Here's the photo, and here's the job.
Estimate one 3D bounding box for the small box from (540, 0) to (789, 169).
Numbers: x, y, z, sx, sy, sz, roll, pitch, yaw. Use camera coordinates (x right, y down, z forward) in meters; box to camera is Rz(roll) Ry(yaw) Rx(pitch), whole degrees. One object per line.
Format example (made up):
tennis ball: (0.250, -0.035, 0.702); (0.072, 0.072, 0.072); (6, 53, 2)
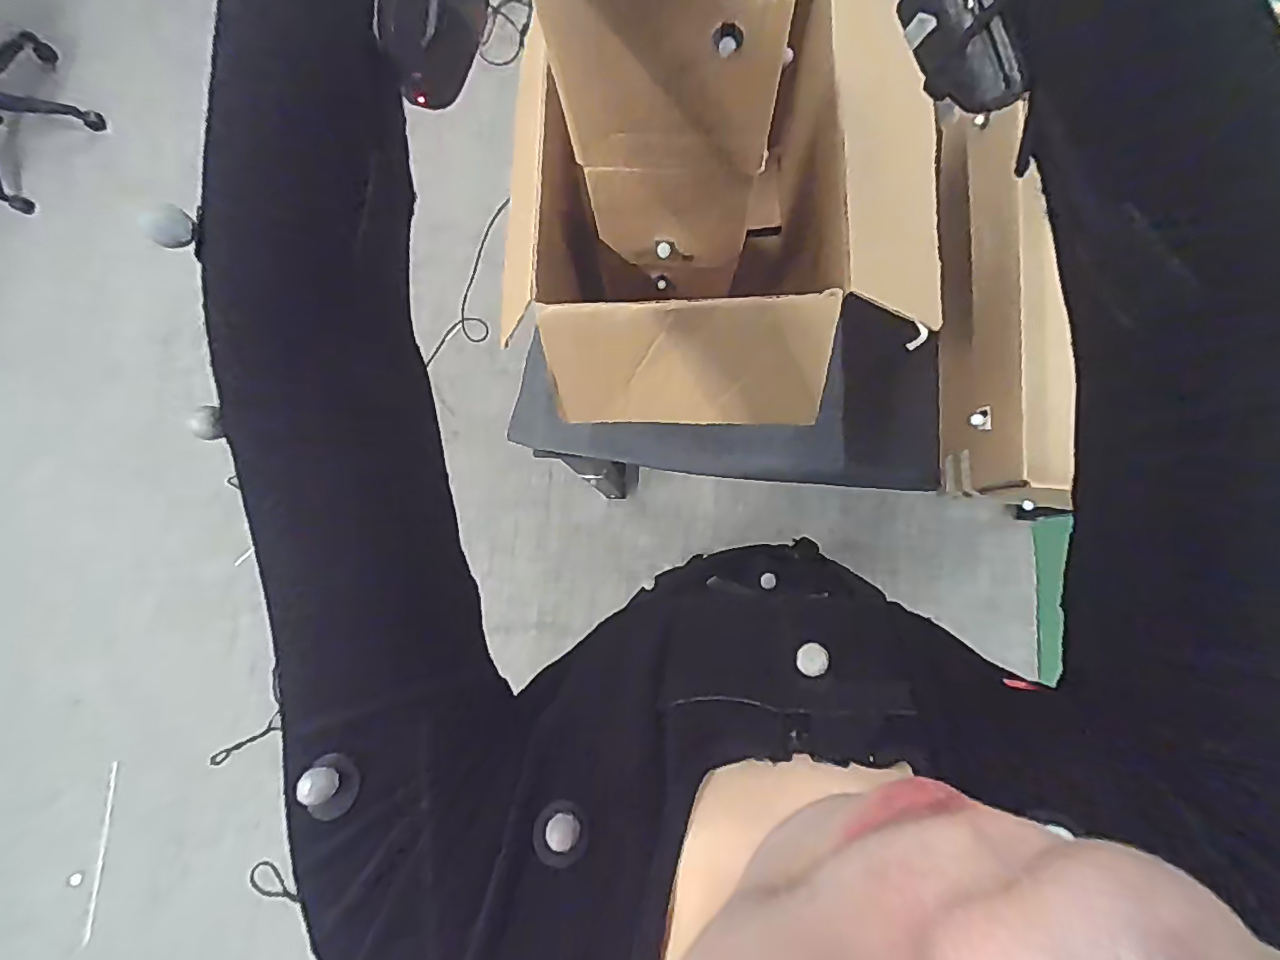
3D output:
small box: (0.027, -0.383, 0.436); (0.179, 0.176, 0.168); (6, 83, 4)

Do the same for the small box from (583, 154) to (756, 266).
small box: (0.039, -0.365, 0.596); (0.168, 0.176, 0.179); (5, 84, 4)
